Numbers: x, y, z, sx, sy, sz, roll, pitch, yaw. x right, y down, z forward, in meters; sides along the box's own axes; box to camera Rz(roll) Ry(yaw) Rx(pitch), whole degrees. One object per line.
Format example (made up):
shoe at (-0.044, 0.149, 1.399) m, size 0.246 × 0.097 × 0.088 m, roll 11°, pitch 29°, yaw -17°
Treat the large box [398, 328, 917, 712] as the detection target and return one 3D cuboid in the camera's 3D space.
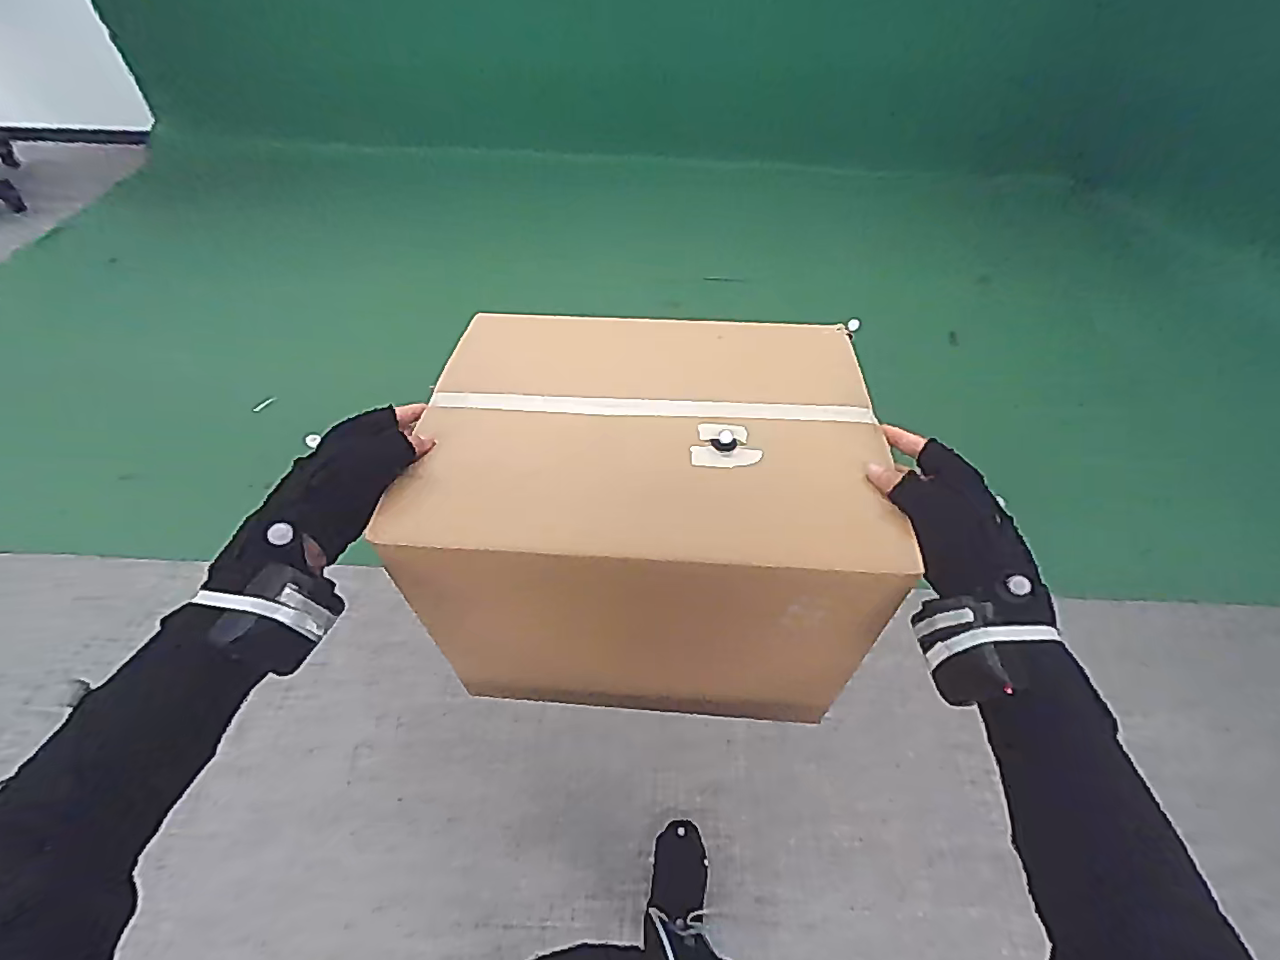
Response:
large box at (0.016, 0.047, 0.615) m, size 0.408 × 0.320 × 0.320 m, roll 3°, pitch 48°, yaw 2°
